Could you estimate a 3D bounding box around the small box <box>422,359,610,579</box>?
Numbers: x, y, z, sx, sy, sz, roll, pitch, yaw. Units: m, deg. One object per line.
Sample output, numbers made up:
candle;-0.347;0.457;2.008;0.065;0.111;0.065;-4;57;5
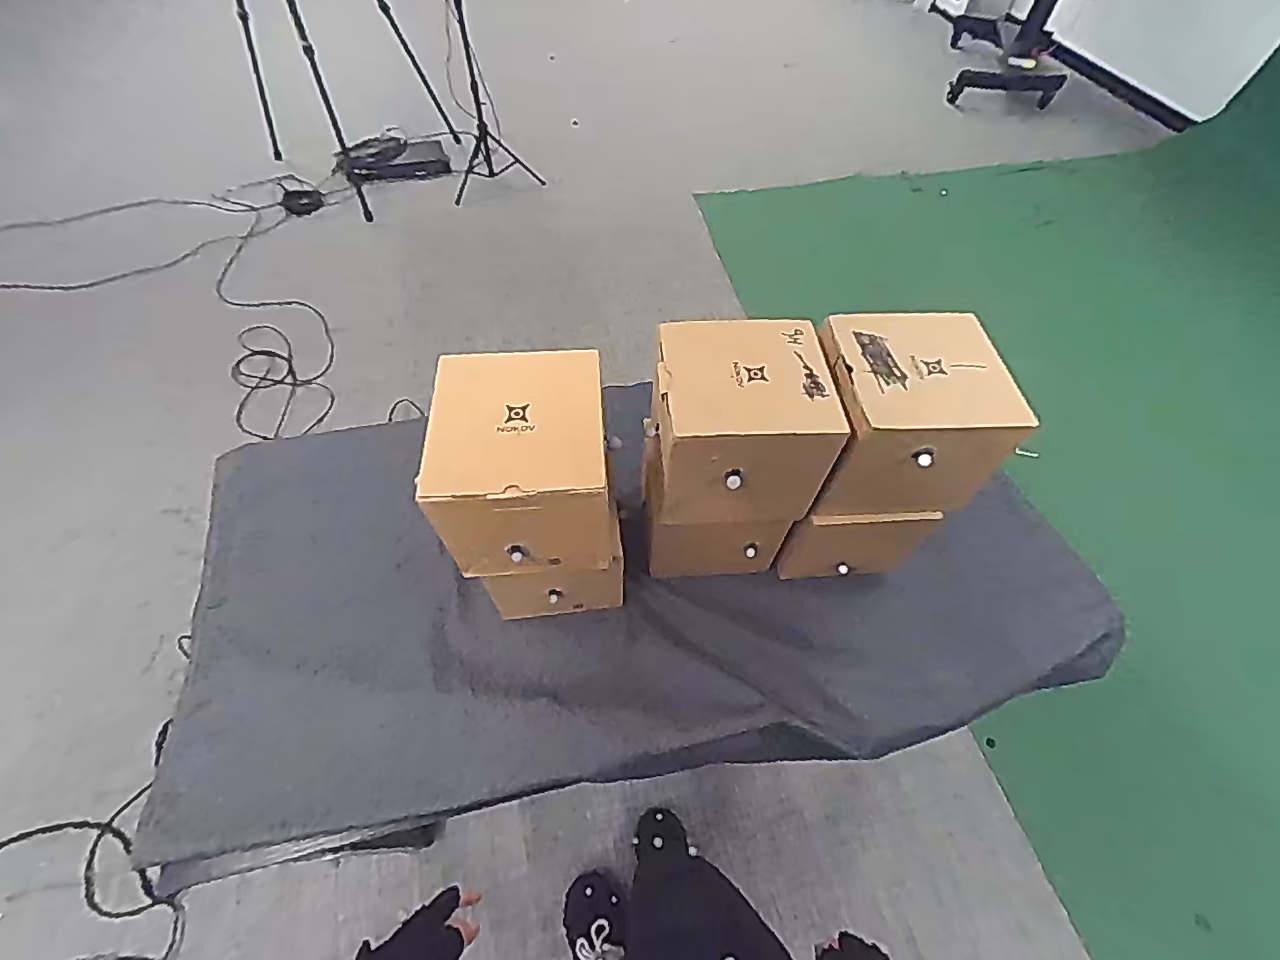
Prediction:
small box;-0.119;-0.009;0.590;0.168;0.176;0.179;-4;58;-3
